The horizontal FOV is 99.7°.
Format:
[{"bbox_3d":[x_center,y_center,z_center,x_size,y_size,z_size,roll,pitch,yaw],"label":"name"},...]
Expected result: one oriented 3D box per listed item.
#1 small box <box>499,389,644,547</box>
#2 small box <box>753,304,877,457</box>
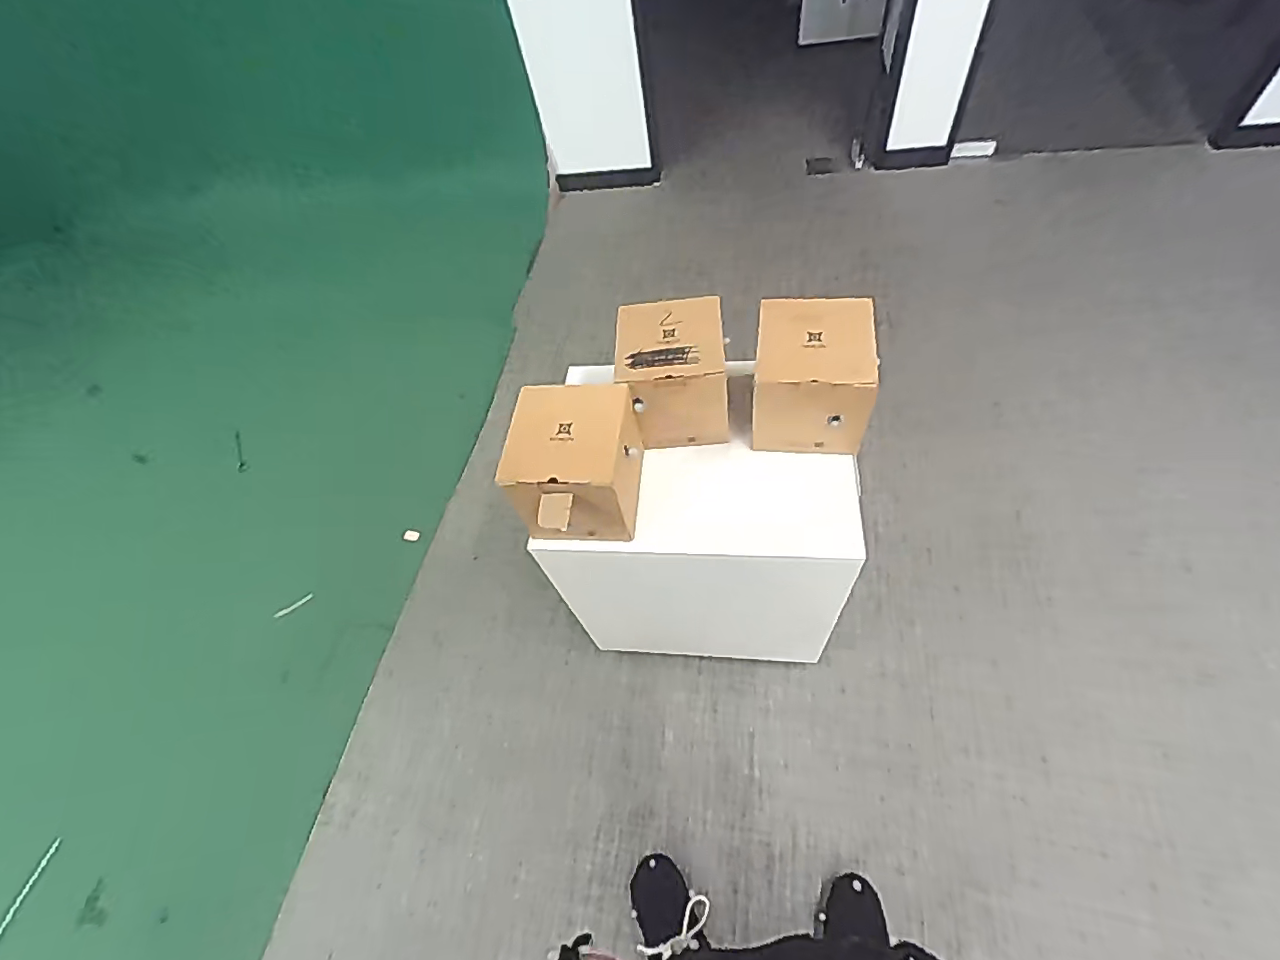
[{"bbox_3d":[-0.090,-0.018,0.820,0.168,0.176,0.179,1,56,10],"label":"small box"},{"bbox_3d":[0.266,-0.152,0.848,0.168,0.176,0.179,4,57,12],"label":"small box"}]
